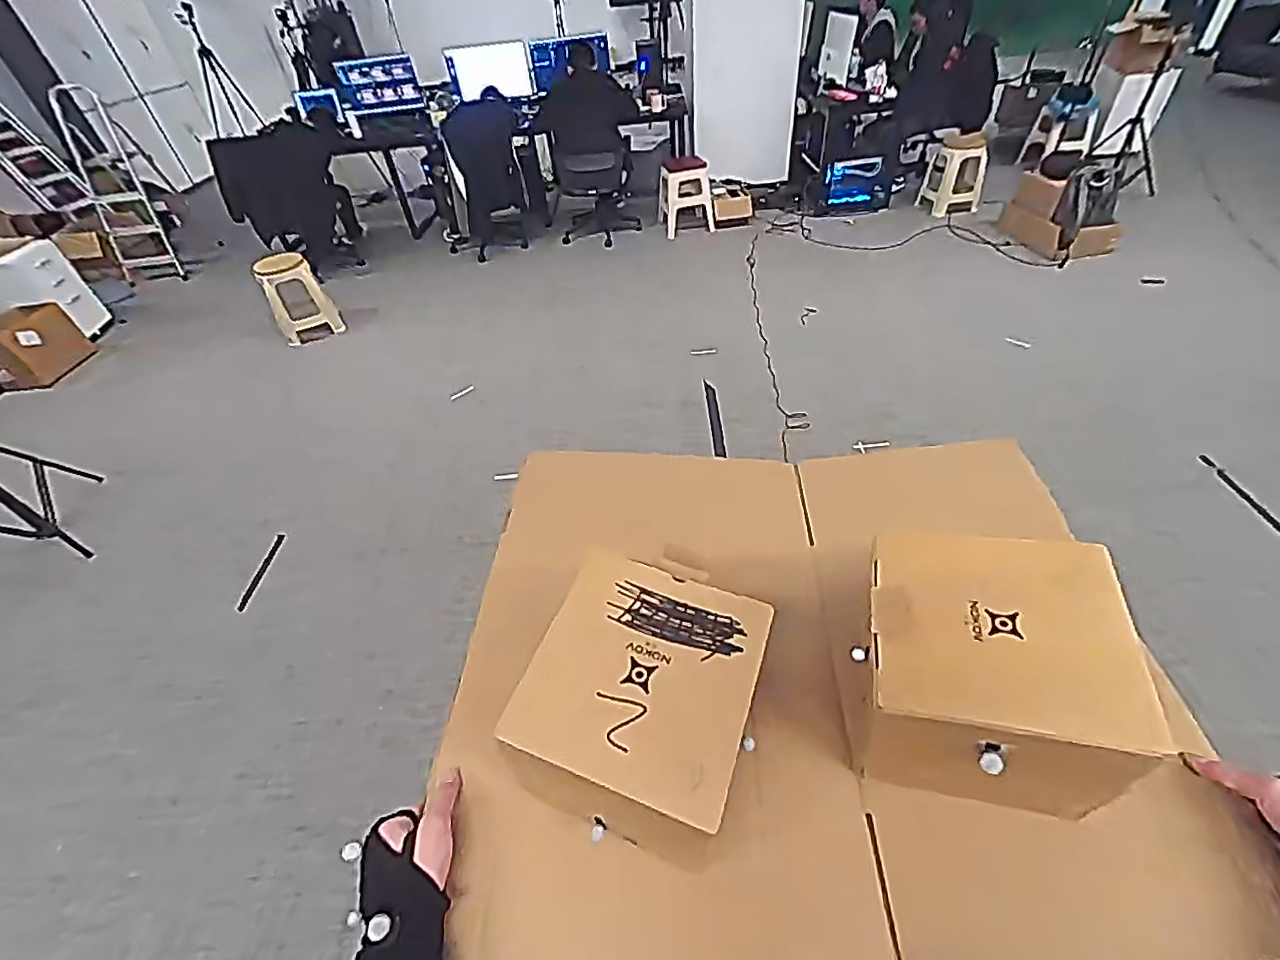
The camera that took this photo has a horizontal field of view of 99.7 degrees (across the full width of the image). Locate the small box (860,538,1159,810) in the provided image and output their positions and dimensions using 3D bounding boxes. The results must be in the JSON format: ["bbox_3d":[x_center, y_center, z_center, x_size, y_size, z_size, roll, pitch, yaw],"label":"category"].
[{"bbox_3d":[0.297,0.172,0.484,0.179,0.176,0.168,1,47,21],"label":"small box"}]
